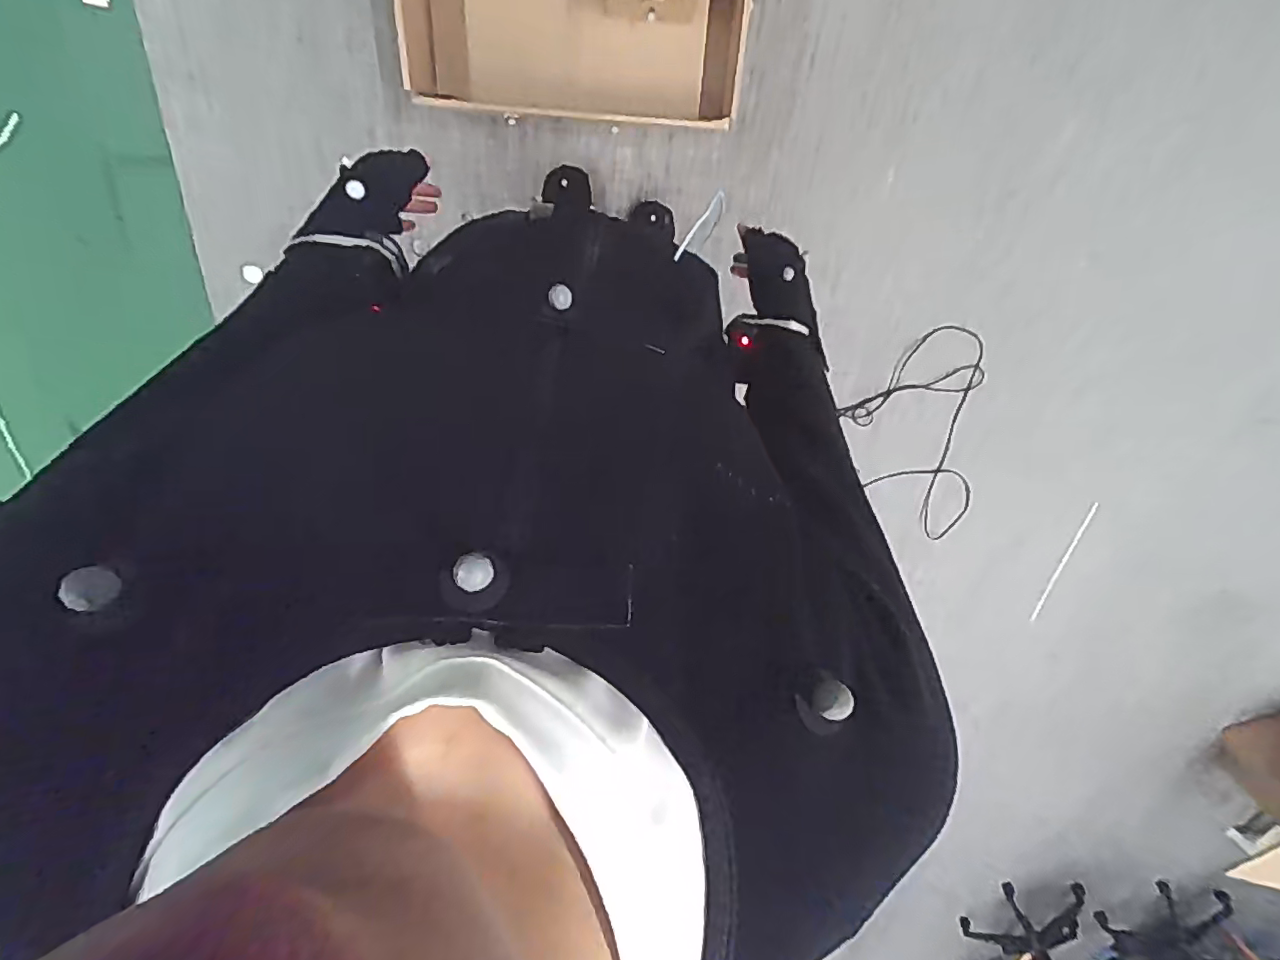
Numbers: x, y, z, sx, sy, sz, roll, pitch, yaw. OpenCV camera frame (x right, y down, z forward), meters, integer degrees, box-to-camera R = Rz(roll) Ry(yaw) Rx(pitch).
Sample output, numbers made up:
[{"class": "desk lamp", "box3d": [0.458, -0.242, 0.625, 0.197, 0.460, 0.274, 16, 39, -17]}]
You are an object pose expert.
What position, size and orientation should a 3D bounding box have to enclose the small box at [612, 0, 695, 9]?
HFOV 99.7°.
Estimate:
[{"class": "small box", "box3d": [0.023, -0.939, 0.927, 0.168, 0.176, 0.179, 1, 119, 1]}]
